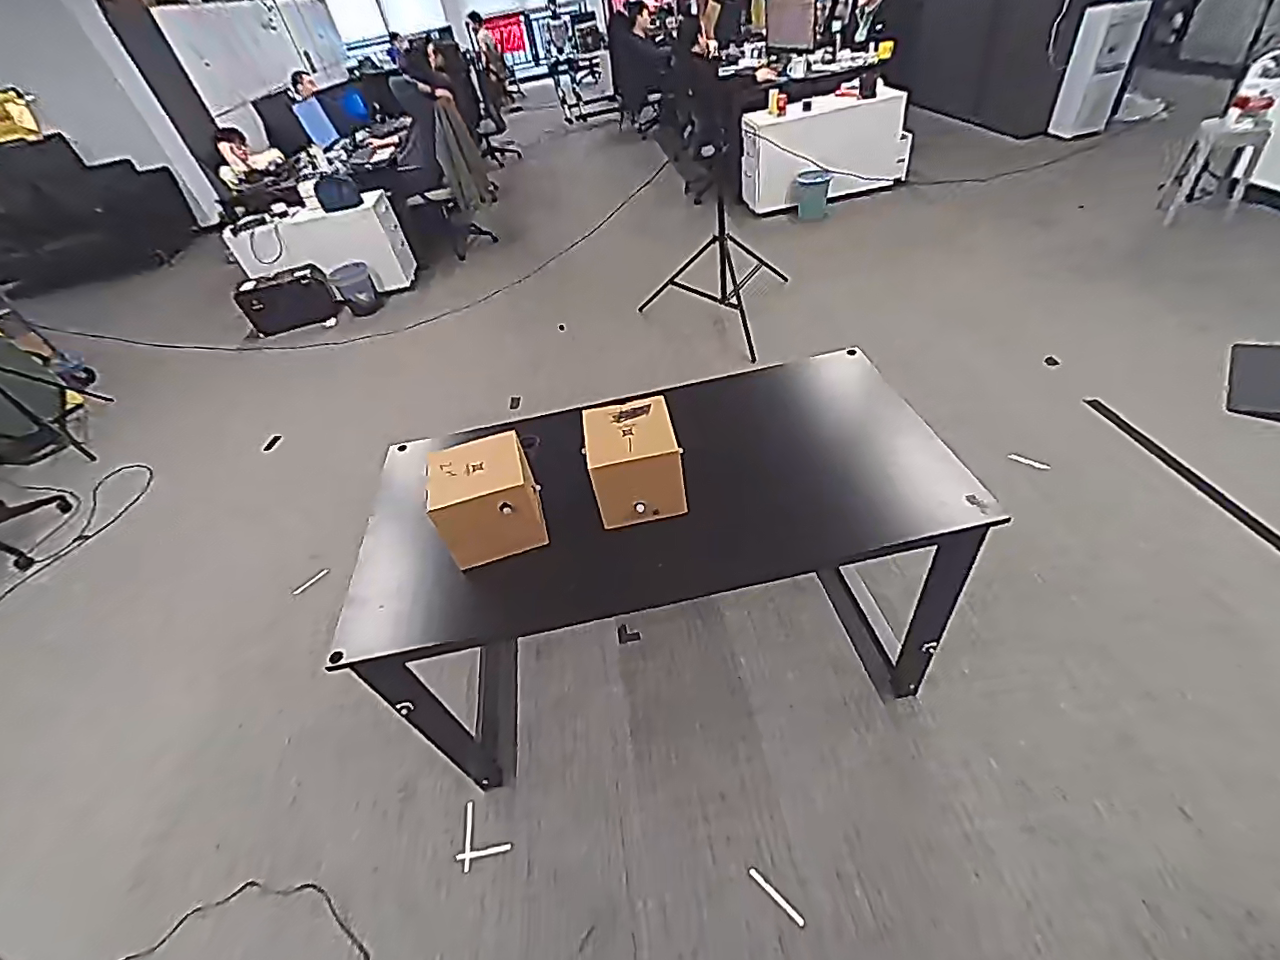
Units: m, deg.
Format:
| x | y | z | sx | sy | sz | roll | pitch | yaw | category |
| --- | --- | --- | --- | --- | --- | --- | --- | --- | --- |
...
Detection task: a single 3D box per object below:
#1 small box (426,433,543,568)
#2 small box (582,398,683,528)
| x | y | z | sx | sy | sz | roll | pitch | yaw | category |
| --- | --- | --- | --- | --- | --- | --- | --- | --- | --- |
| -0.294 | 0.041 | 1.049 | 0.179 | 0.176 | 0.168 | -17 | 43 | -5 | small box |
| -0.014 | -0.032 | 1.065 | 0.168 | 0.176 | 0.179 | -12 | 44 | 1 | small box |
